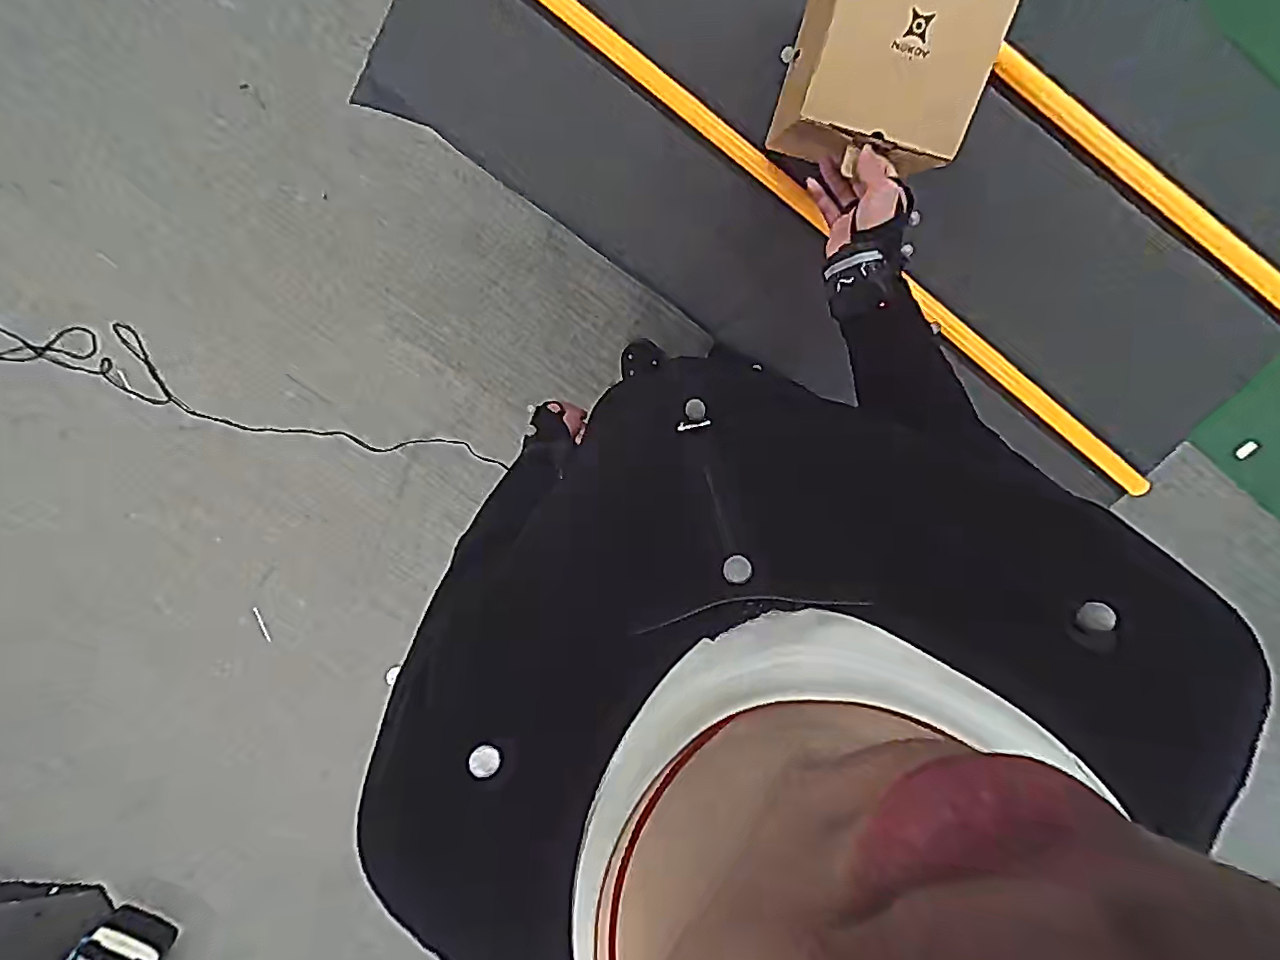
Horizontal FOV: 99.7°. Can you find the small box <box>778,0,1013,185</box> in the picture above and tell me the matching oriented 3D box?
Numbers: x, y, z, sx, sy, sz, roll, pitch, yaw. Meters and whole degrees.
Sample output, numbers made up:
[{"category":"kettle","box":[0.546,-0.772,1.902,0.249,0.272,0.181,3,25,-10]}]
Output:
[{"category":"small box","box":[0.260,-0.441,0.595,0.168,0.176,0.179,11,112,-1]}]
